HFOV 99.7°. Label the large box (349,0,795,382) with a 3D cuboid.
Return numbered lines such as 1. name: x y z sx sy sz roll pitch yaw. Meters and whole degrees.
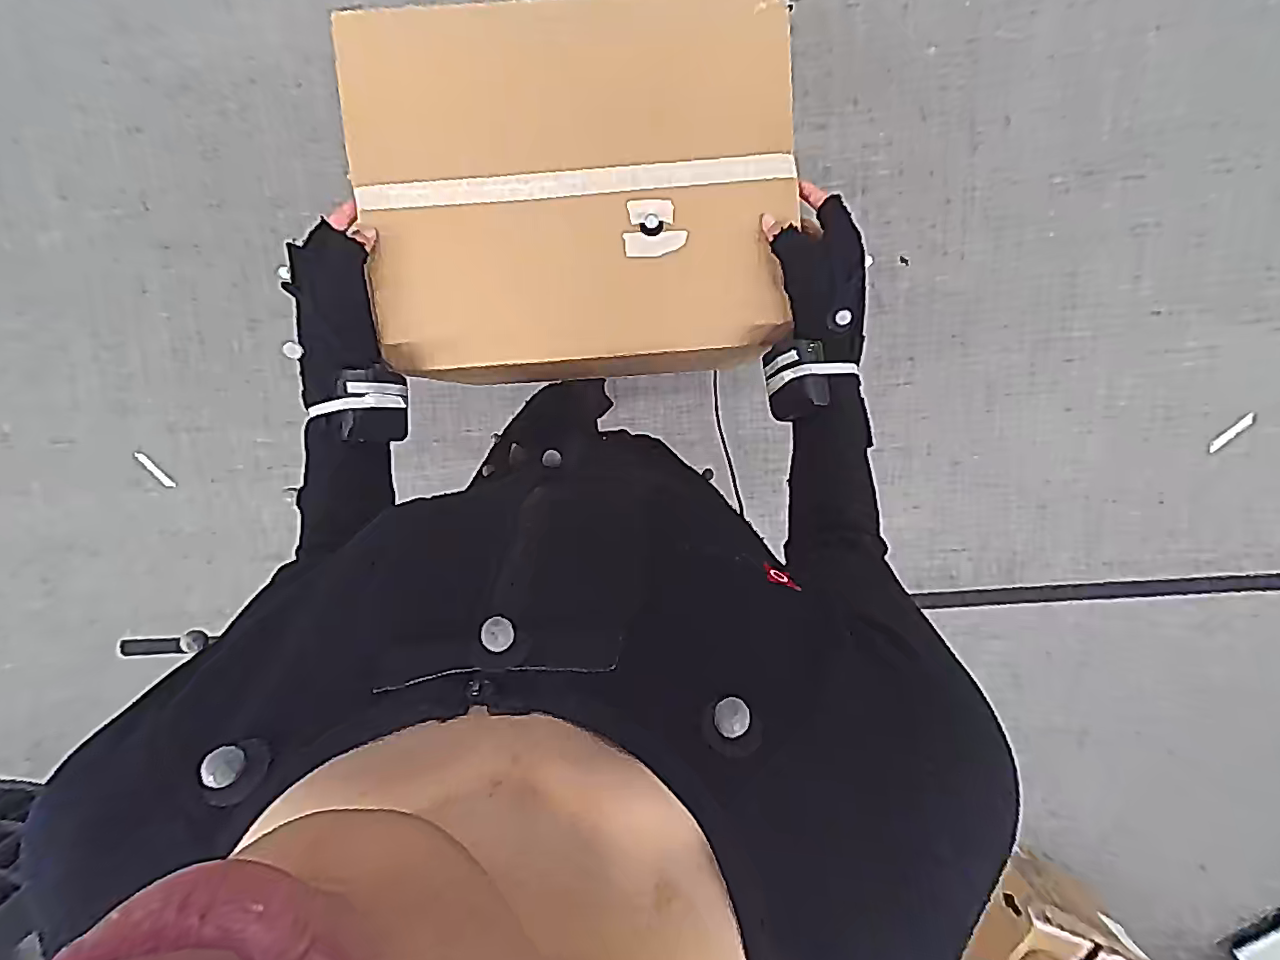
1. large box: -0.062 -0.301 0.659 0.408 0.320 0.320 -4 97 -1
